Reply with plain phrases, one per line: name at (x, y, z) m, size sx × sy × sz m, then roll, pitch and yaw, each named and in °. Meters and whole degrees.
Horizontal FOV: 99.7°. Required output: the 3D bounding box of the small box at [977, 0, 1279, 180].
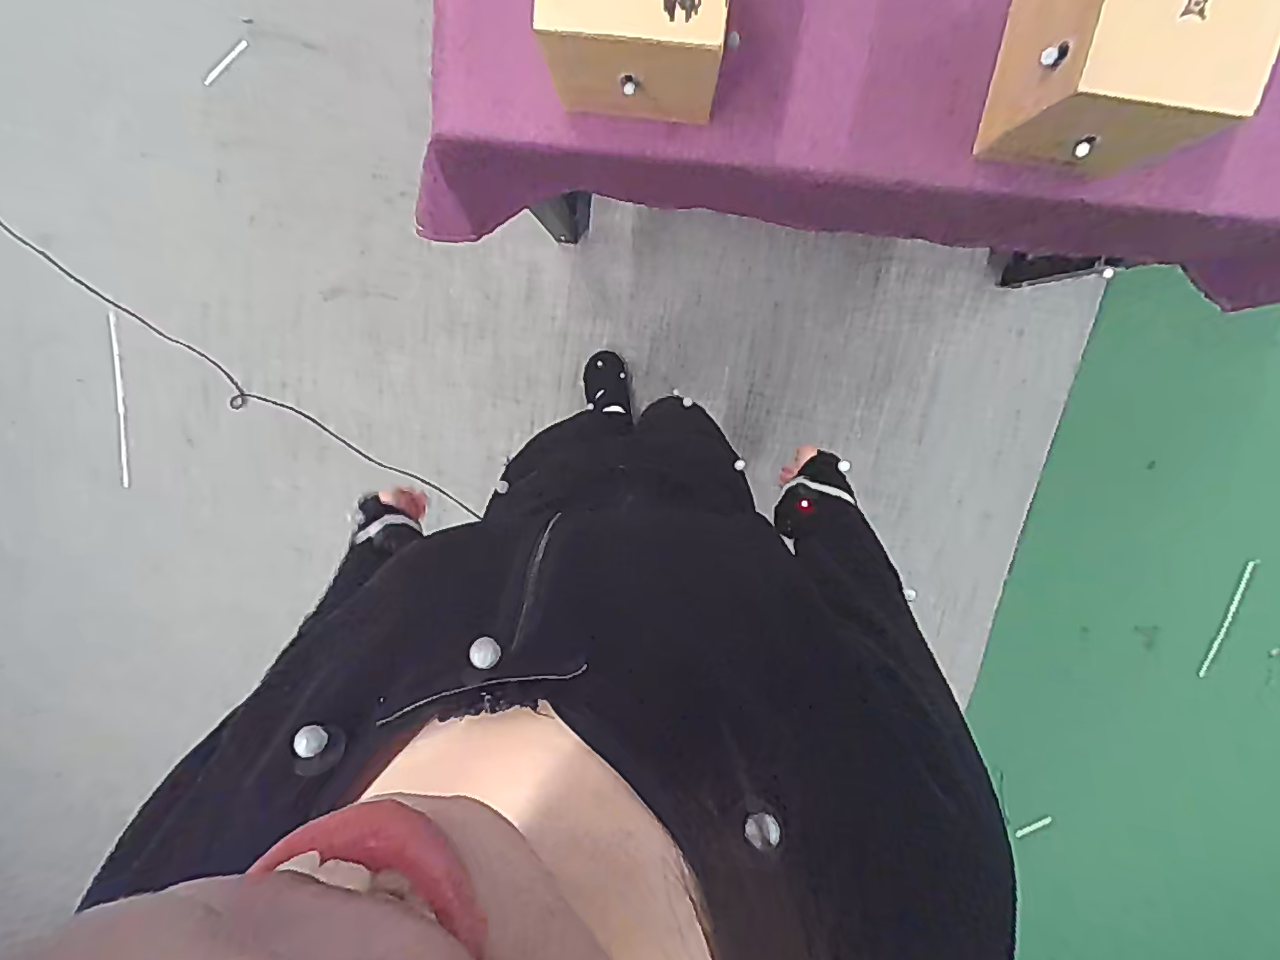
small box at (0.490, -0.436, 0.560) m, size 0.168 × 0.176 × 0.179 m, roll 9°, pitch 103°, yaw -2°
